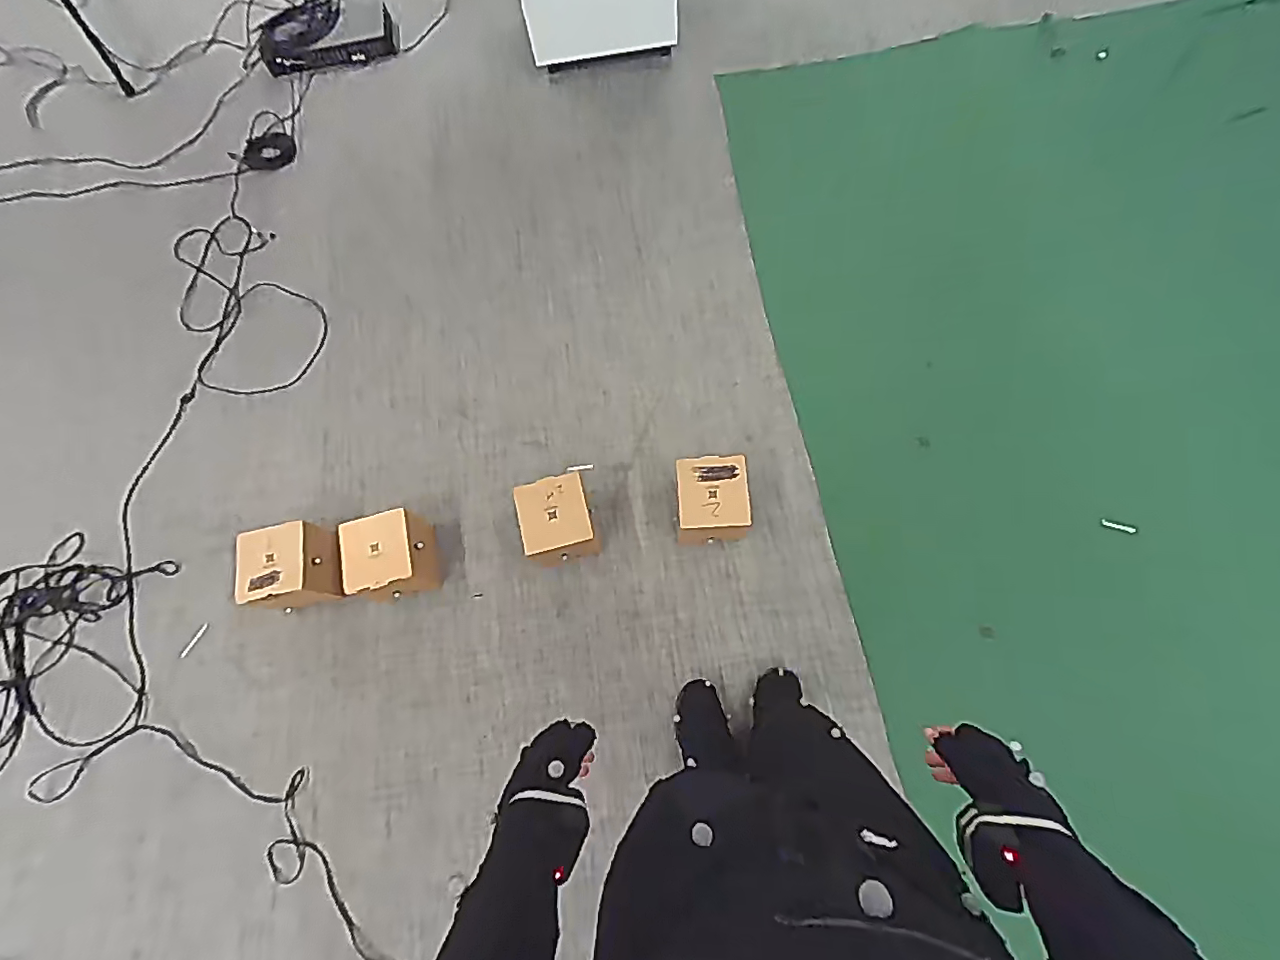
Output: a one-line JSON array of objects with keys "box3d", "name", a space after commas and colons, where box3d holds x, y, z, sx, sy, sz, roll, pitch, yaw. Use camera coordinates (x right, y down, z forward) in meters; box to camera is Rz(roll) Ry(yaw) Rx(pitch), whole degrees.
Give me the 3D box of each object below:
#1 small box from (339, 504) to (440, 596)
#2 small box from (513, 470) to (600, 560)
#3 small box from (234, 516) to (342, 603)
[{"box3d": [-0.621, 0.179, 1.351, 0.168, 0.176, 0.179, -15, 73, -1], "name": "small box"}, {"box3d": [-0.202, 0.096, 1.350, 0.168, 0.176, 0.179, -14, 72, -2], "name": "small box"}, {"box3d": [-0.875, 0.206, 1.359, 0.168, 0.176, 0.179, -12, 71, 0], "name": "small box"}]
